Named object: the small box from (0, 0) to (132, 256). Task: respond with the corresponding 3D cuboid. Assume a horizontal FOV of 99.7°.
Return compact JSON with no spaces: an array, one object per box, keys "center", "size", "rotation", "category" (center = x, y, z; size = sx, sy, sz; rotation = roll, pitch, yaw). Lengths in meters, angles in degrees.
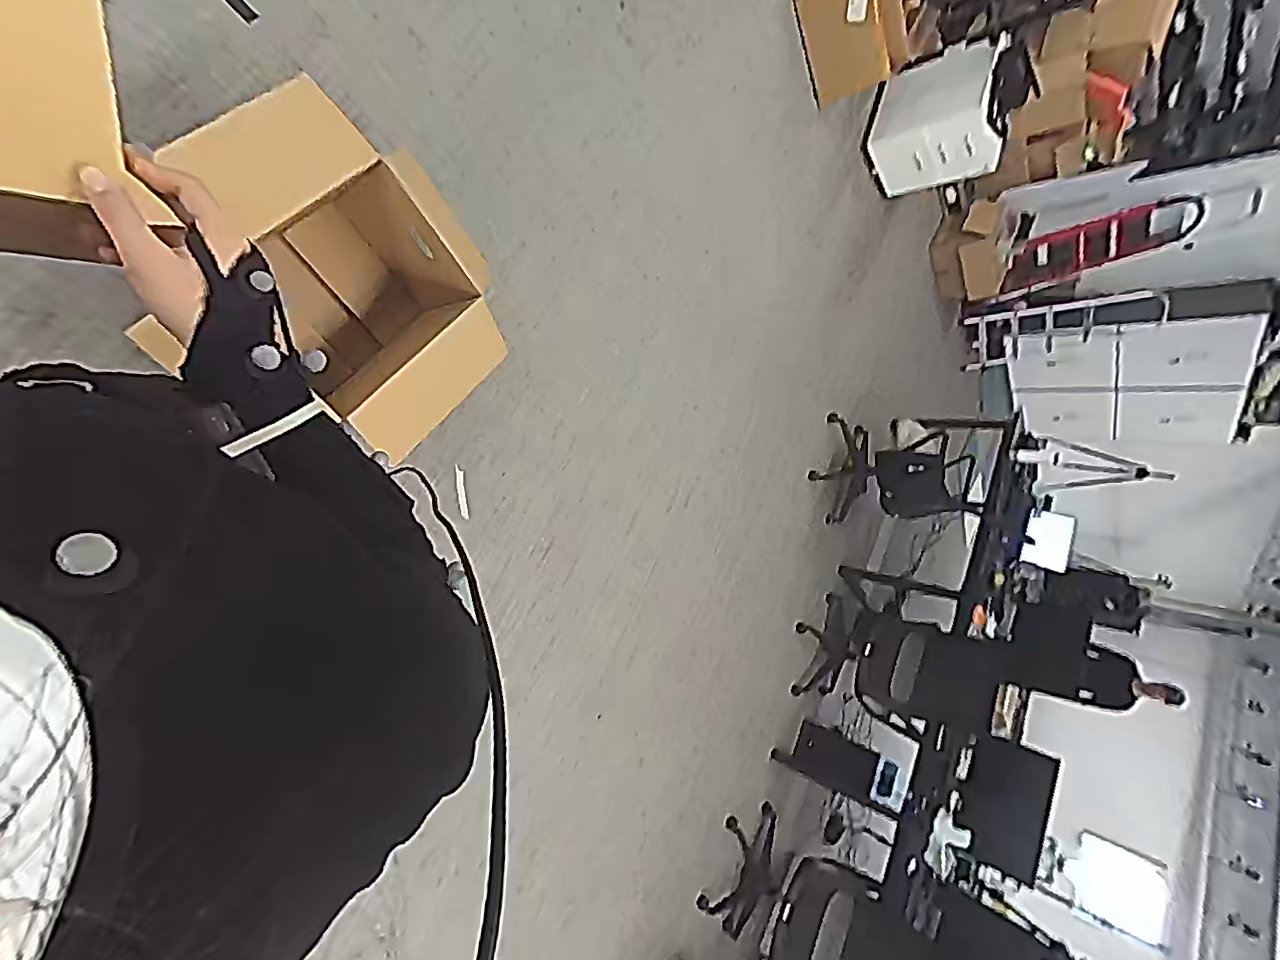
[{"center":[-0.420,-0.238,0.309],"size":[0.179,0.176,0.168],"rotation":[-8,101,-41],"category":"small box"}]
